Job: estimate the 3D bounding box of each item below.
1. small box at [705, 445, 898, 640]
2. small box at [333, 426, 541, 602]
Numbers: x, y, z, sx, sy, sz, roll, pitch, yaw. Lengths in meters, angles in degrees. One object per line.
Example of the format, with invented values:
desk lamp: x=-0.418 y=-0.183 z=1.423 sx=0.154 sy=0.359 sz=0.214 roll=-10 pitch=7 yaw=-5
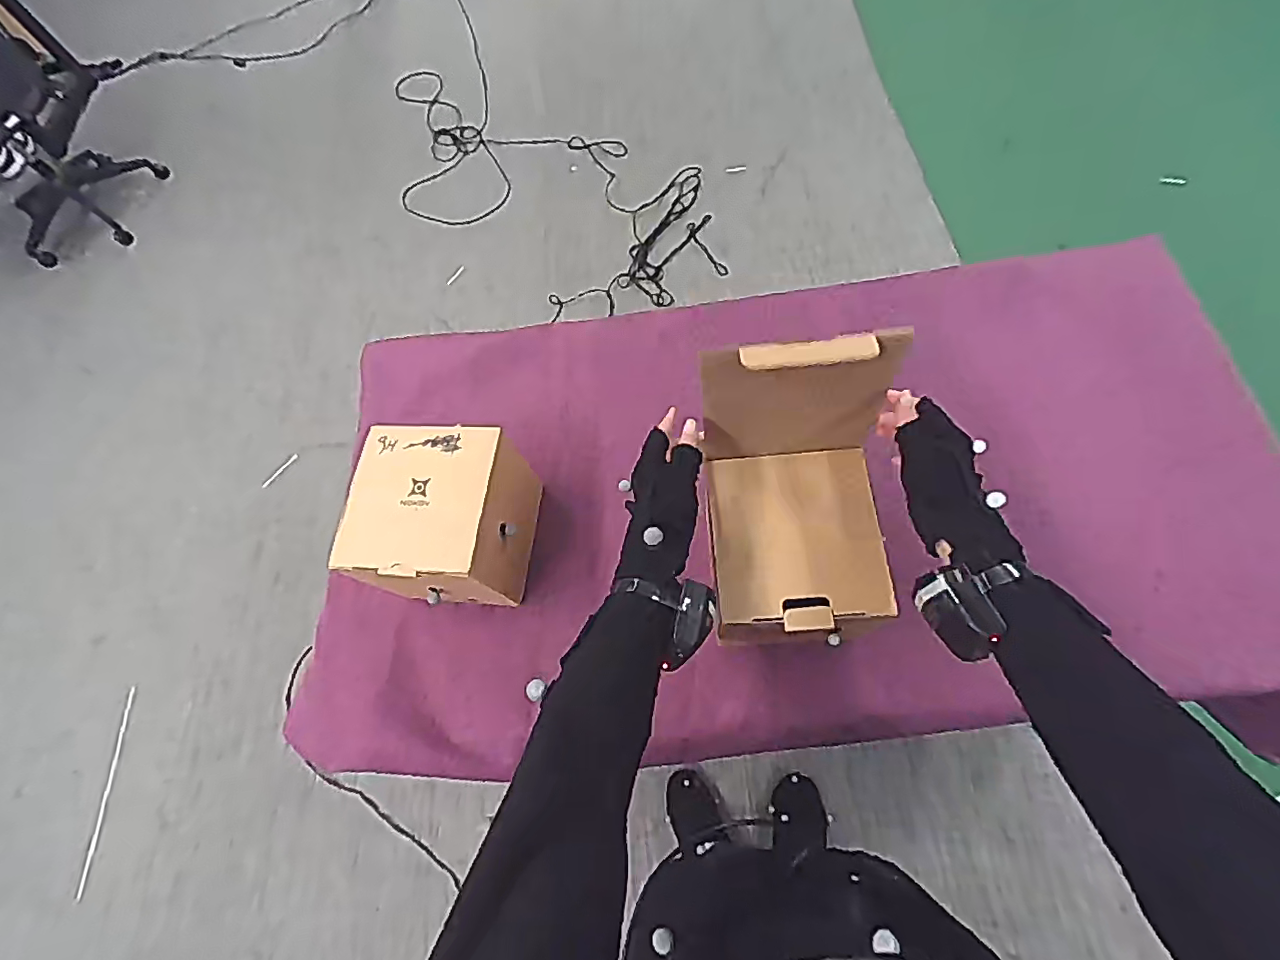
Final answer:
small box: x=0.163 y=0.080 z=0.602 sx=0.168 sy=0.176 sz=0.179 roll=-4 pitch=66 yaw=6
small box: x=-0.233 y=0.049 z=0.673 sx=0.168 sy=0.176 sz=0.179 roll=2 pitch=68 yaw=9
